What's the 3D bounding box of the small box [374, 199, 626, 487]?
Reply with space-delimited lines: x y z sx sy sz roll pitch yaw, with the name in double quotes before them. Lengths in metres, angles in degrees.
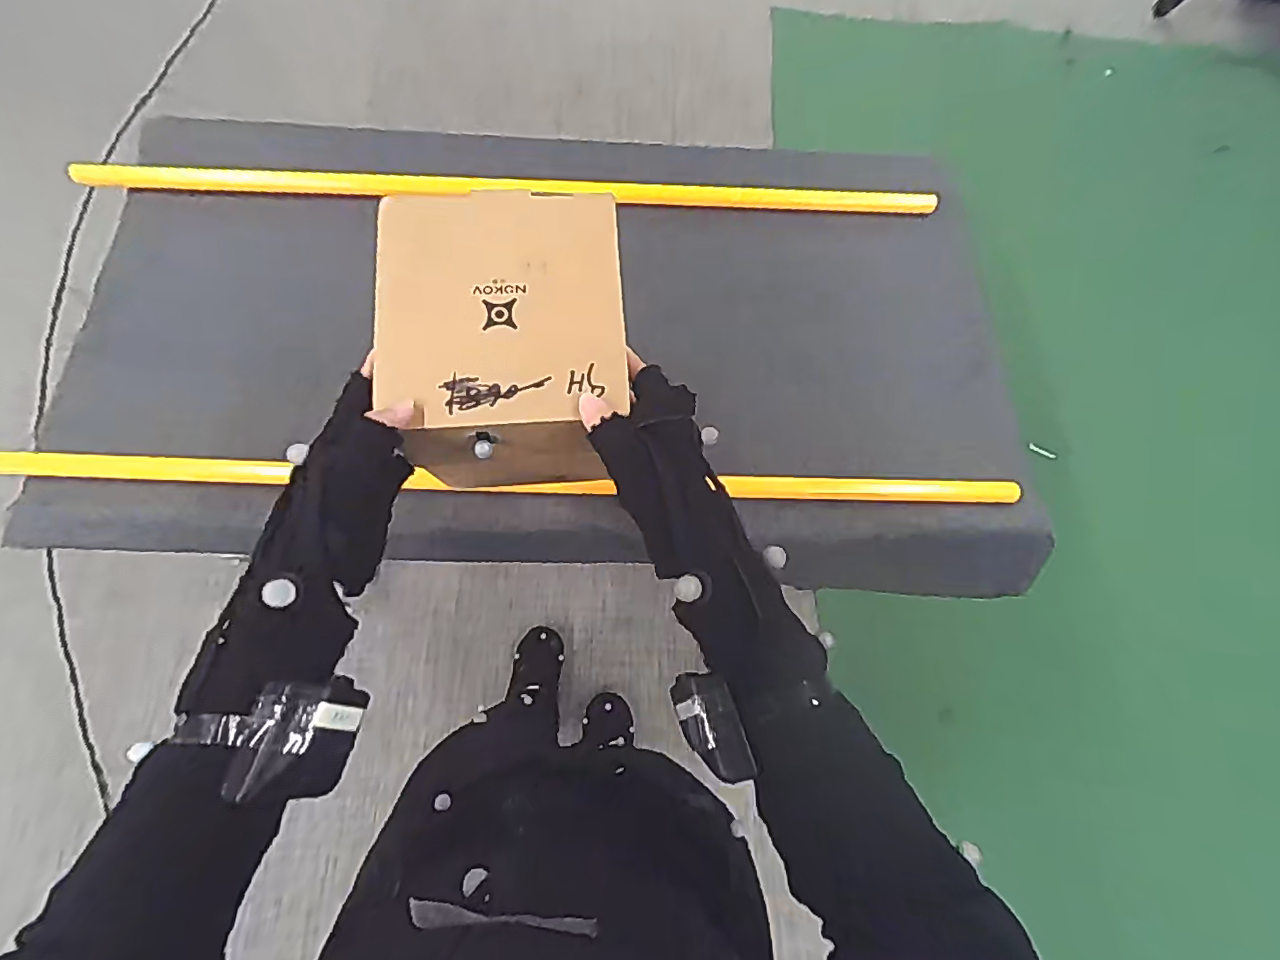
"small box" -0.100 -0.101 0.453 0.168 0.176 0.179 -3 76 -3
